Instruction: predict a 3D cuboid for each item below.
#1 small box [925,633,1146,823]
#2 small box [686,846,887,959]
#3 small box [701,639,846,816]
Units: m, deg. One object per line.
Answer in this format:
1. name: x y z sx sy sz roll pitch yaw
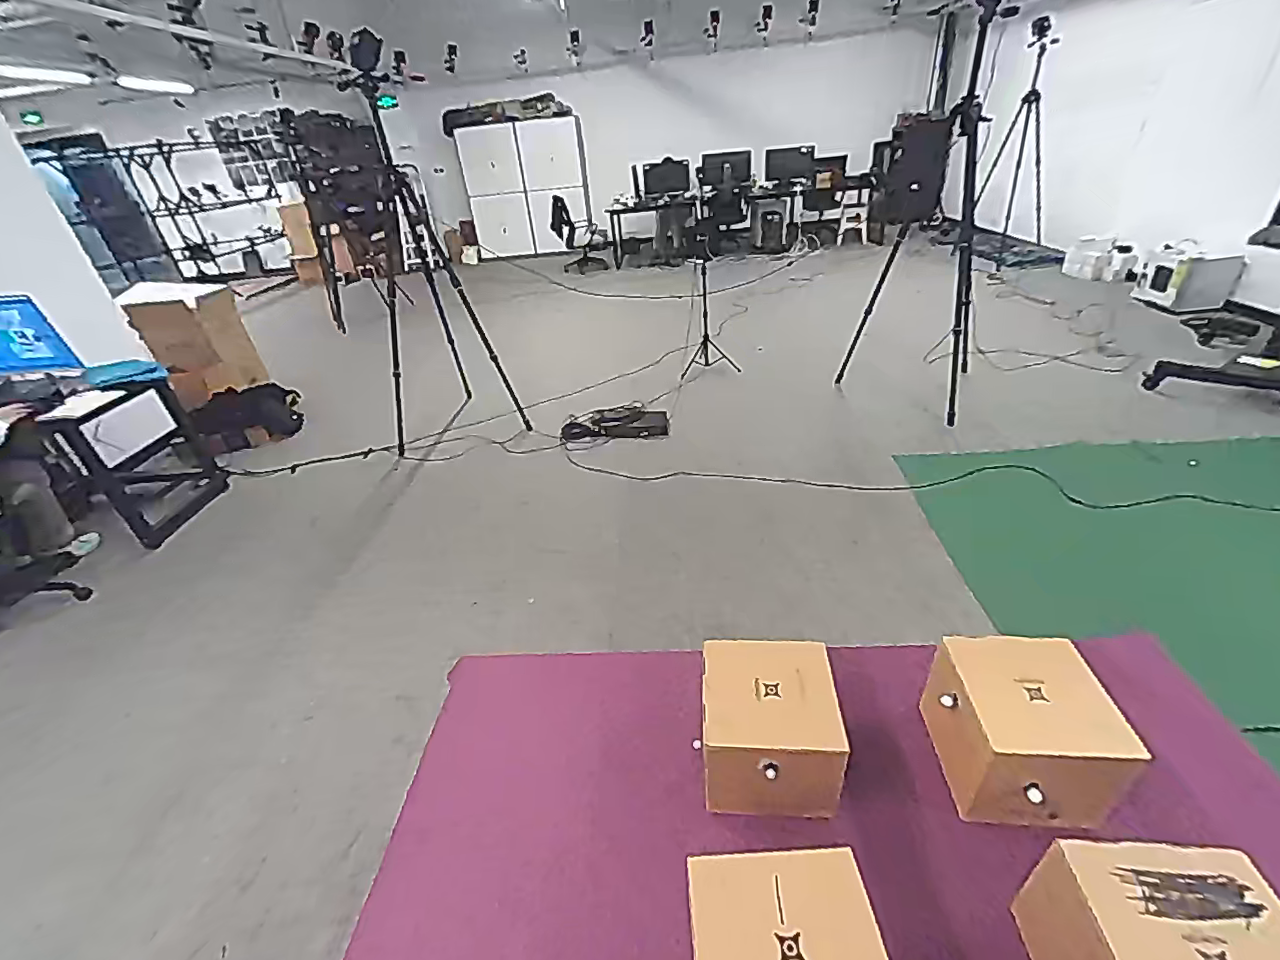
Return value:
1. small box: 0.505 0.329 0.724 0.168 0.176 0.179 -2 32 9
2. small box: 0.135 0.480 0.499 0.168 0.176 0.179 -5 27 2
3. small box: 0.180 0.347 0.764 0.179 0.176 0.168 -1 33 8
